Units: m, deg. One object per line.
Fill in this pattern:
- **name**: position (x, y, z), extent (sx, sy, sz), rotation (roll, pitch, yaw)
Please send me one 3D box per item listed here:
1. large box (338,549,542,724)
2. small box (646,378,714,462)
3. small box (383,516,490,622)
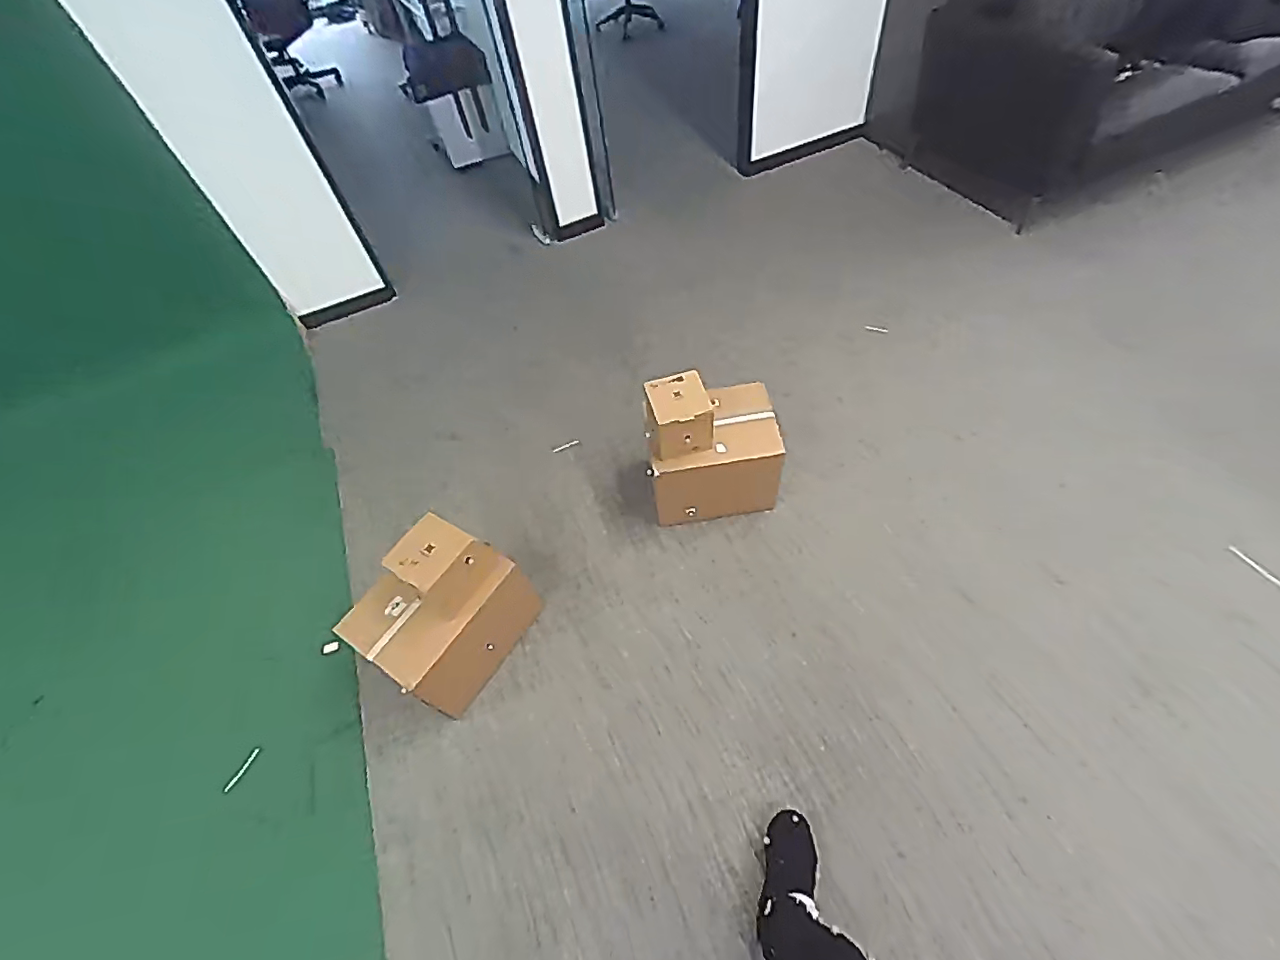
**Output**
- **large box**: position (-0.551, 0.419, 1.573), extent (0.320, 0.320, 0.408), rotation (24, 61, 25)
- **small box**: position (0.121, -0.172, 1.614), extent (0.168, 0.176, 0.179), rotation (-14, 54, -4)
- **small box**: position (-0.512, 0.232, 1.396), extent (0.168, 0.176, 0.179), rotation (25, 60, 23)
